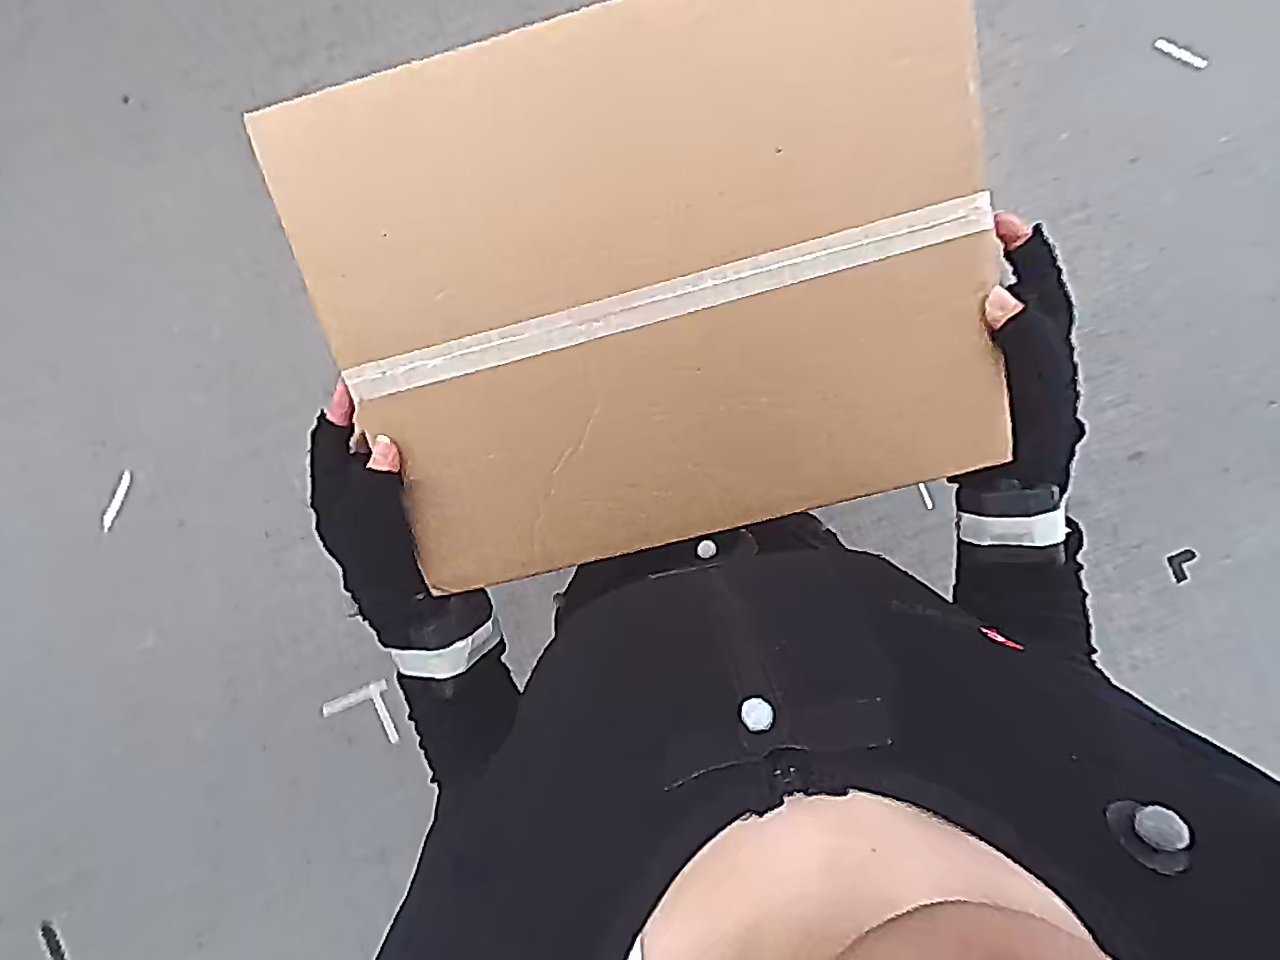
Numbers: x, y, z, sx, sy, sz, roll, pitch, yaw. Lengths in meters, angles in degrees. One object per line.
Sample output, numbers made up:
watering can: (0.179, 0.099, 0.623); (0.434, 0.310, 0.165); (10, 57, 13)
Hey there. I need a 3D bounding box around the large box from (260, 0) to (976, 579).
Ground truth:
large box: (0.004, -0.157, 0.487); (0.408, 0.320, 0.320); (-14, 104, 4)
